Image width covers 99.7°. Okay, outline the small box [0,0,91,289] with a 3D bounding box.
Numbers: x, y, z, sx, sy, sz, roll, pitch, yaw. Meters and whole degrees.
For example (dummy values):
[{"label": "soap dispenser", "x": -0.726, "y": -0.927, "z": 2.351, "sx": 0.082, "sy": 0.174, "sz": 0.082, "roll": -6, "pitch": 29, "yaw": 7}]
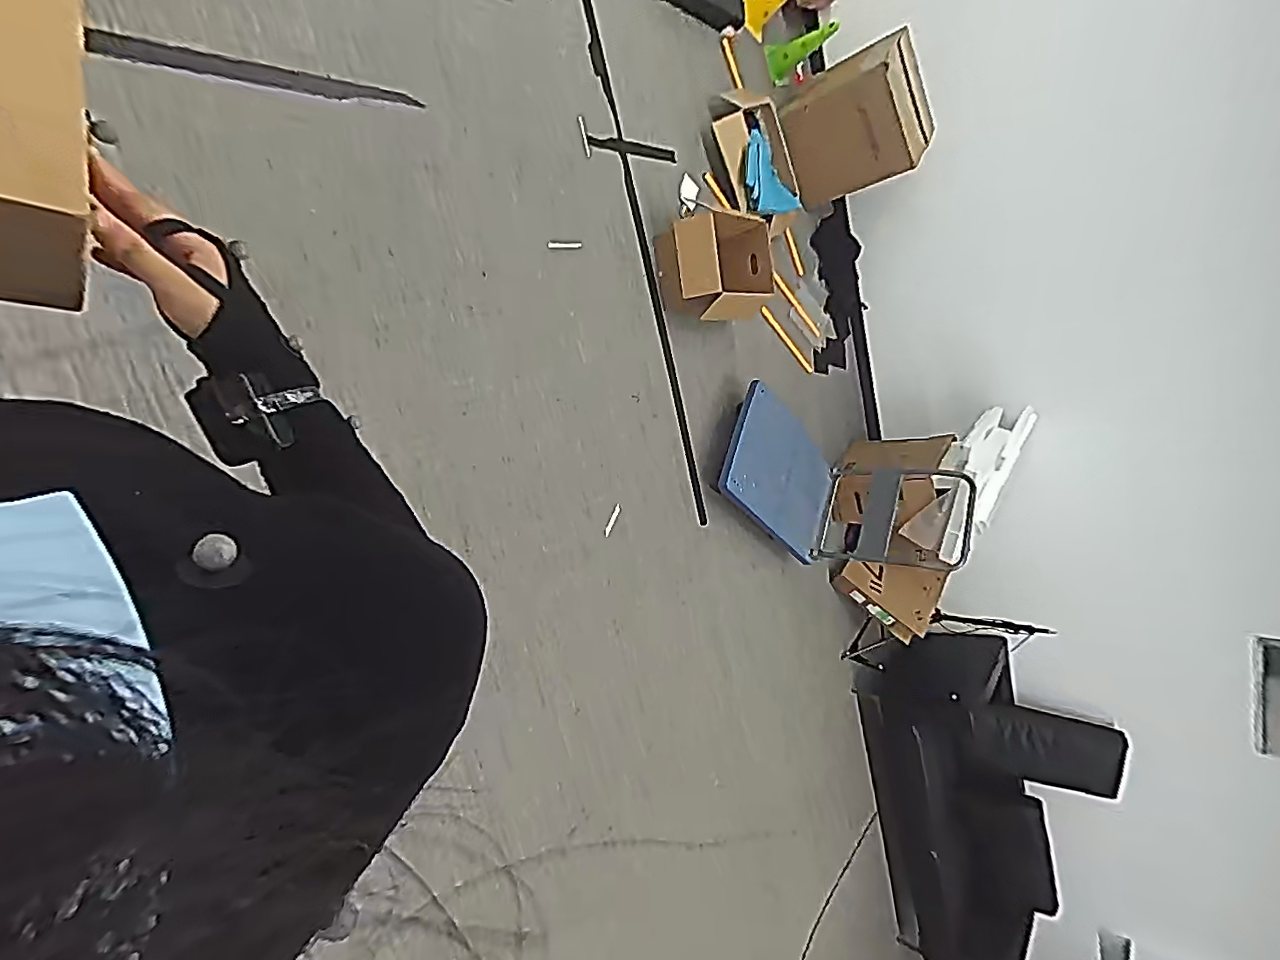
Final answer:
[{"label": "small box", "x": -0.411, "y": -0.224, "z": 0.287, "sx": 0.168, "sy": 0.176, "sz": 0.179, "roll": 0, "pitch": 85, "yaw": -48}]
